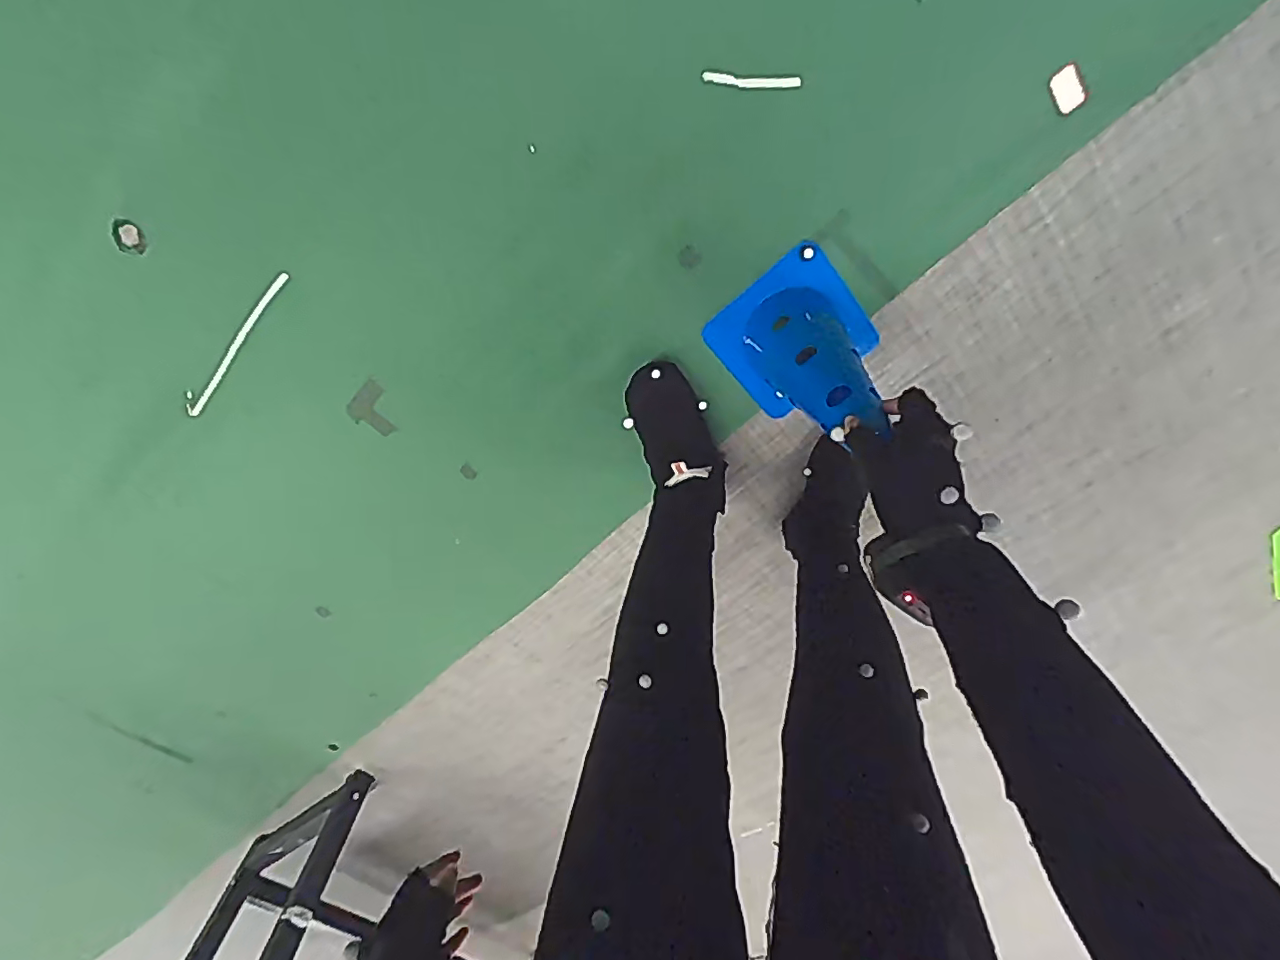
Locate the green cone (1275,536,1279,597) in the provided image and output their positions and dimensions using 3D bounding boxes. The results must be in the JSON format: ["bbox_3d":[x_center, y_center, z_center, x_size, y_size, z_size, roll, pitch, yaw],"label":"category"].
[{"bbox_3d":[1.252,0.209,0.820,0.200,0.368,0.202,-29,116,18],"label":"green cone"}]
